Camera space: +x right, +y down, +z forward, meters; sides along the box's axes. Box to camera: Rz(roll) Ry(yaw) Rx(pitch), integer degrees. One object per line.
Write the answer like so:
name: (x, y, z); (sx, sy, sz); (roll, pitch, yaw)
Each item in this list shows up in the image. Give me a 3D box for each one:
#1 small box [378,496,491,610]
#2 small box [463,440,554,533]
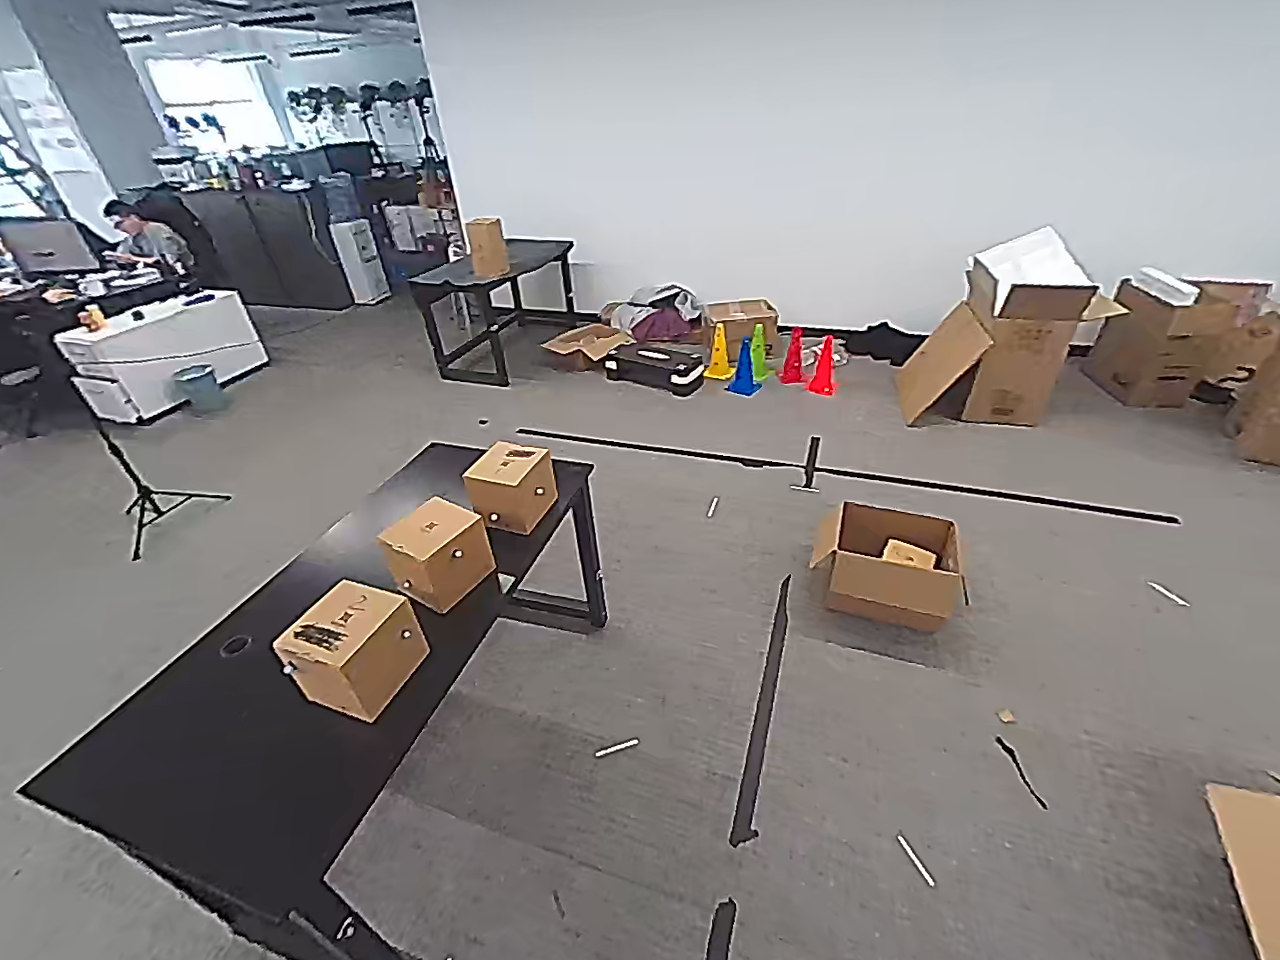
small box: (-0.472, 0.170, 1.276); (0.168, 0.176, 0.179); (17, 41, 28)
small box: (-0.347, 0.016, 1.474); (0.168, 0.176, 0.179); (9, 39, 19)
